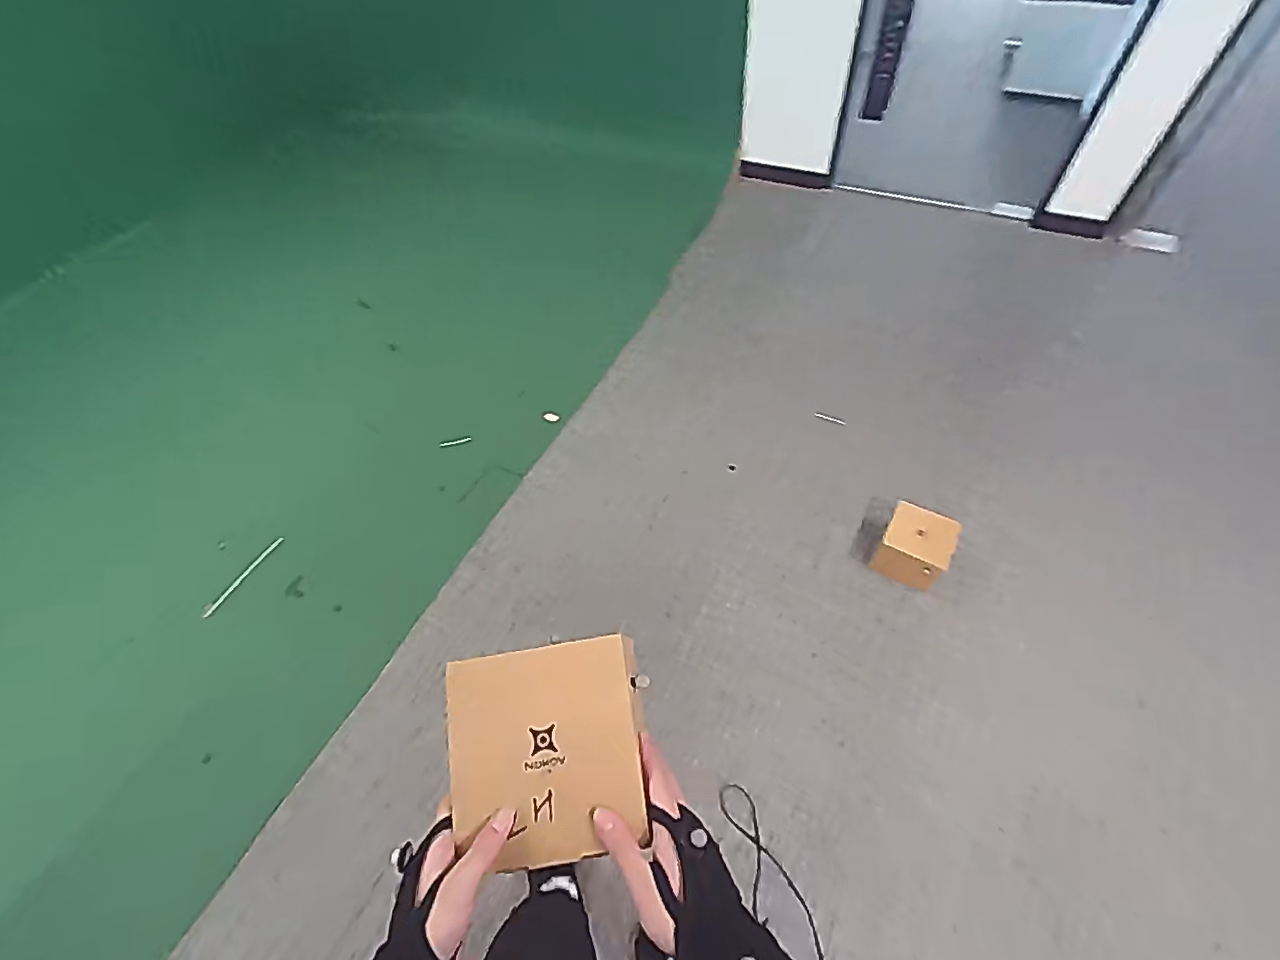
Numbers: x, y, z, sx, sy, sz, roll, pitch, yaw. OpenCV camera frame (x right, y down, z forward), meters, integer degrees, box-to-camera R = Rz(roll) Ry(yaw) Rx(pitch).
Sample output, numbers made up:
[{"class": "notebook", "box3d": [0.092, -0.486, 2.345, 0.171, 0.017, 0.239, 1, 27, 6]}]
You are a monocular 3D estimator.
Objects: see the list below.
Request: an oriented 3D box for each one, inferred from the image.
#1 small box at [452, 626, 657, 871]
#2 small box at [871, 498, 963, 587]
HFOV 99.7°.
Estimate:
[{"class": "small box", "box3d": [-0.076, 0.252, 0.542, 0.168, 0.176, 0.179, -9, 72, 1]}, {"class": "small box", "box3d": [0.798, 0.187, 1.572, 0.179, 0.176, 0.168, 24, 63, 19]}]
